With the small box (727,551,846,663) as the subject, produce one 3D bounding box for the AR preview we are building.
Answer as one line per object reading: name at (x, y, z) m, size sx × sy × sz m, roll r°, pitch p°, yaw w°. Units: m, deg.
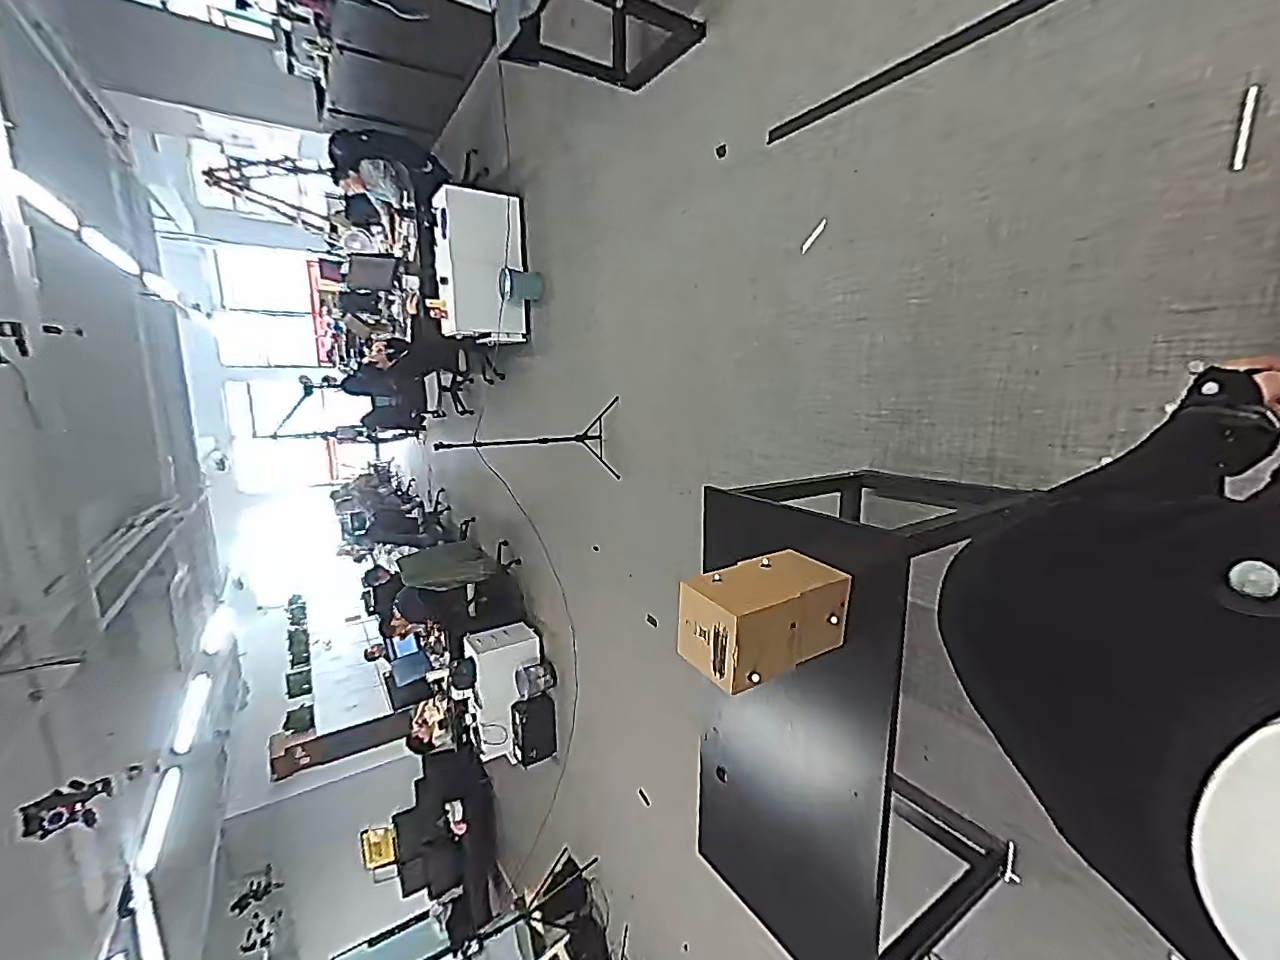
small box at (0.316, 0.264, 1.180) m, size 0.179 × 0.176 × 0.168 m, roll 24°, pitch 117°, yaw 54°
